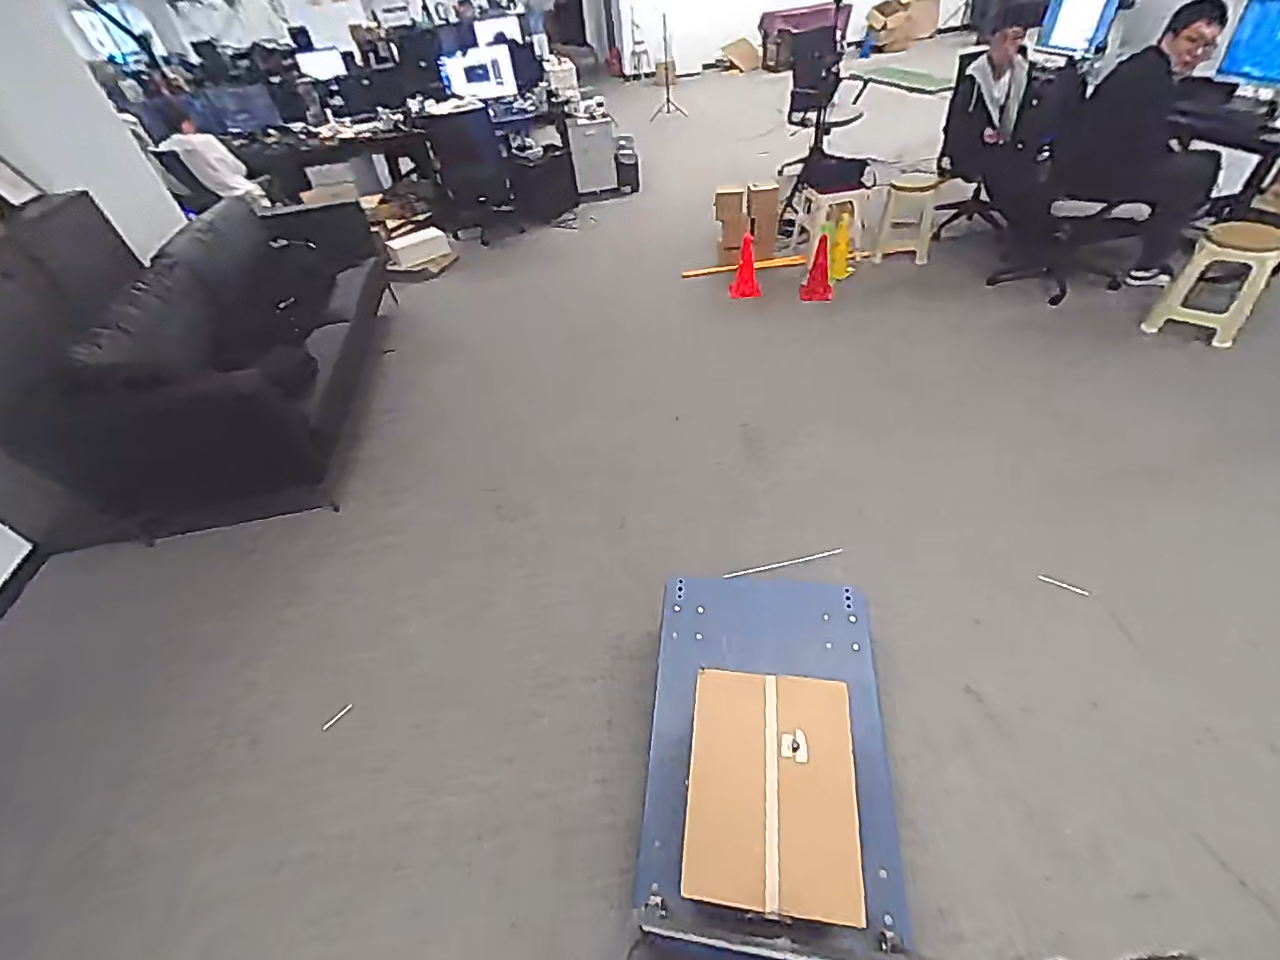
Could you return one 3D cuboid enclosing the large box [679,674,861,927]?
[{"bbox_3d":[0.263,0.680,1.160,0.320,0.320,0.408,3,52,10],"label":"large box"}]
